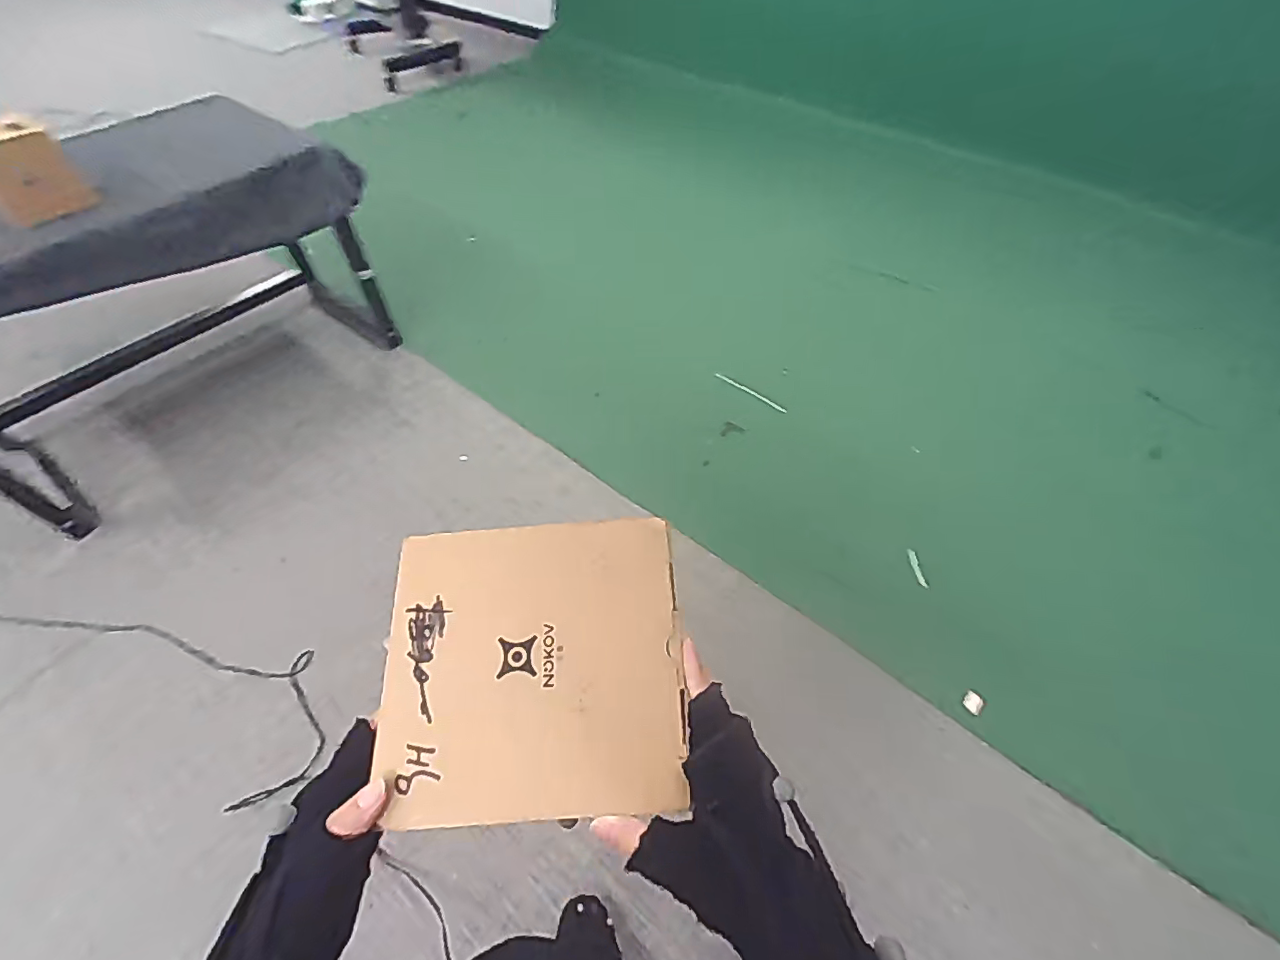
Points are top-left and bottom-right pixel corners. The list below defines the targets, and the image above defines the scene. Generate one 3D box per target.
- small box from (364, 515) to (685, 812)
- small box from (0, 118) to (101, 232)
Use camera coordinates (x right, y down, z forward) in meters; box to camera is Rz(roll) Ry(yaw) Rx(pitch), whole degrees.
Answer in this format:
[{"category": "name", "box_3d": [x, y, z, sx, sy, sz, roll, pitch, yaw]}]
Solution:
[{"category": "small box", "box_3d": [-0.066, 0.136, 0.398, 0.179, 0.176, 0.168, -4, 63, -1]}, {"category": "small box", "box_3d": [-1.457, -0.727, 1.291, 0.168, 0.176, 0.179, 30, 57, 21]}]
